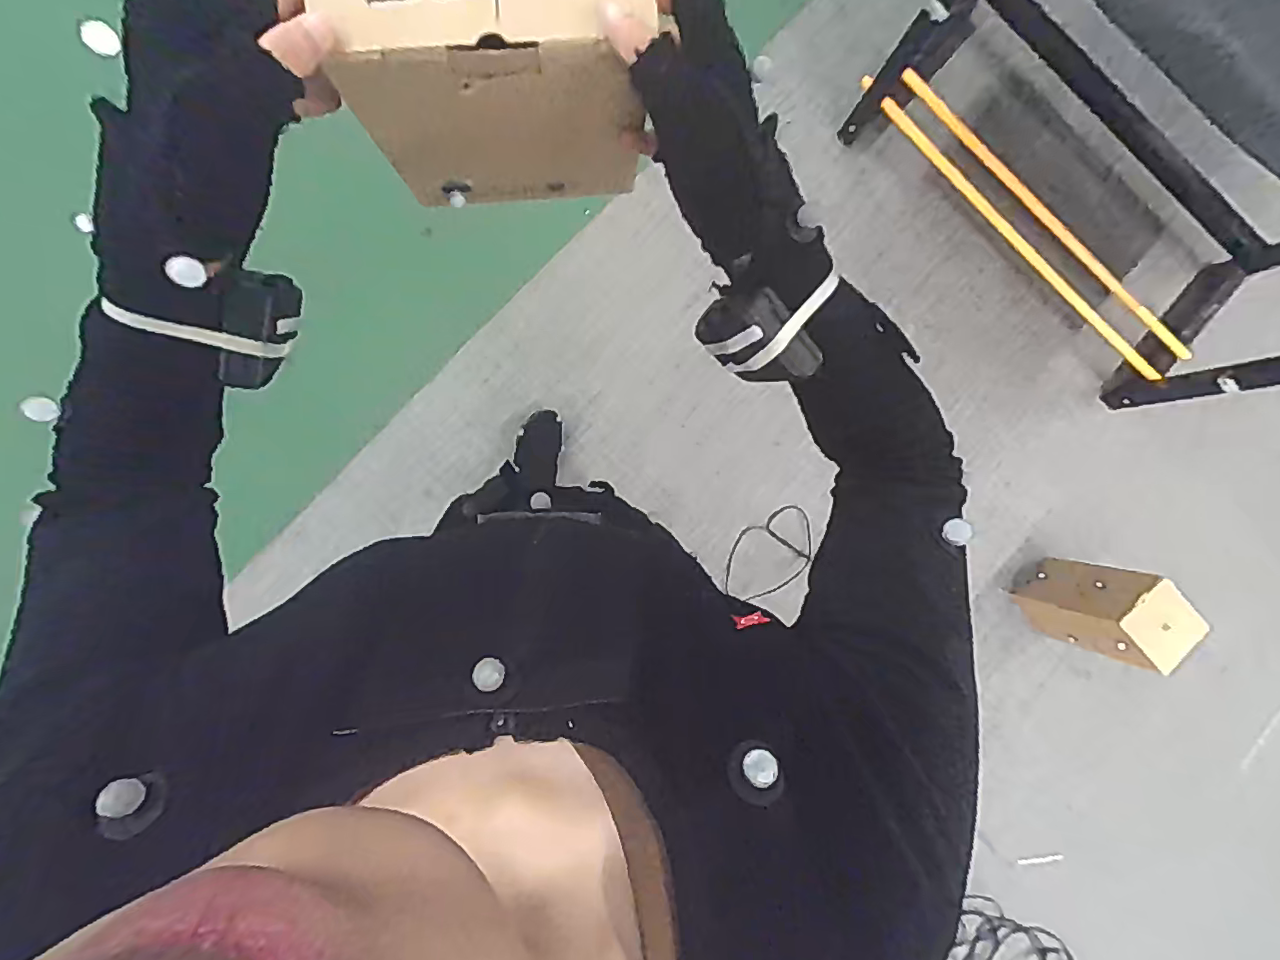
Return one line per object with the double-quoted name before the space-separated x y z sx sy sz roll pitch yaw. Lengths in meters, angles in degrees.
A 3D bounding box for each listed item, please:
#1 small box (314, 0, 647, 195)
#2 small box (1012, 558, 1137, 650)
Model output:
"small box" -0.089 -0.301 0.343 0.168 0.176 0.179 -6 94 -5
"small box" 1.211 0.339 1.517 0.168 0.176 0.179 -42 92 -5
